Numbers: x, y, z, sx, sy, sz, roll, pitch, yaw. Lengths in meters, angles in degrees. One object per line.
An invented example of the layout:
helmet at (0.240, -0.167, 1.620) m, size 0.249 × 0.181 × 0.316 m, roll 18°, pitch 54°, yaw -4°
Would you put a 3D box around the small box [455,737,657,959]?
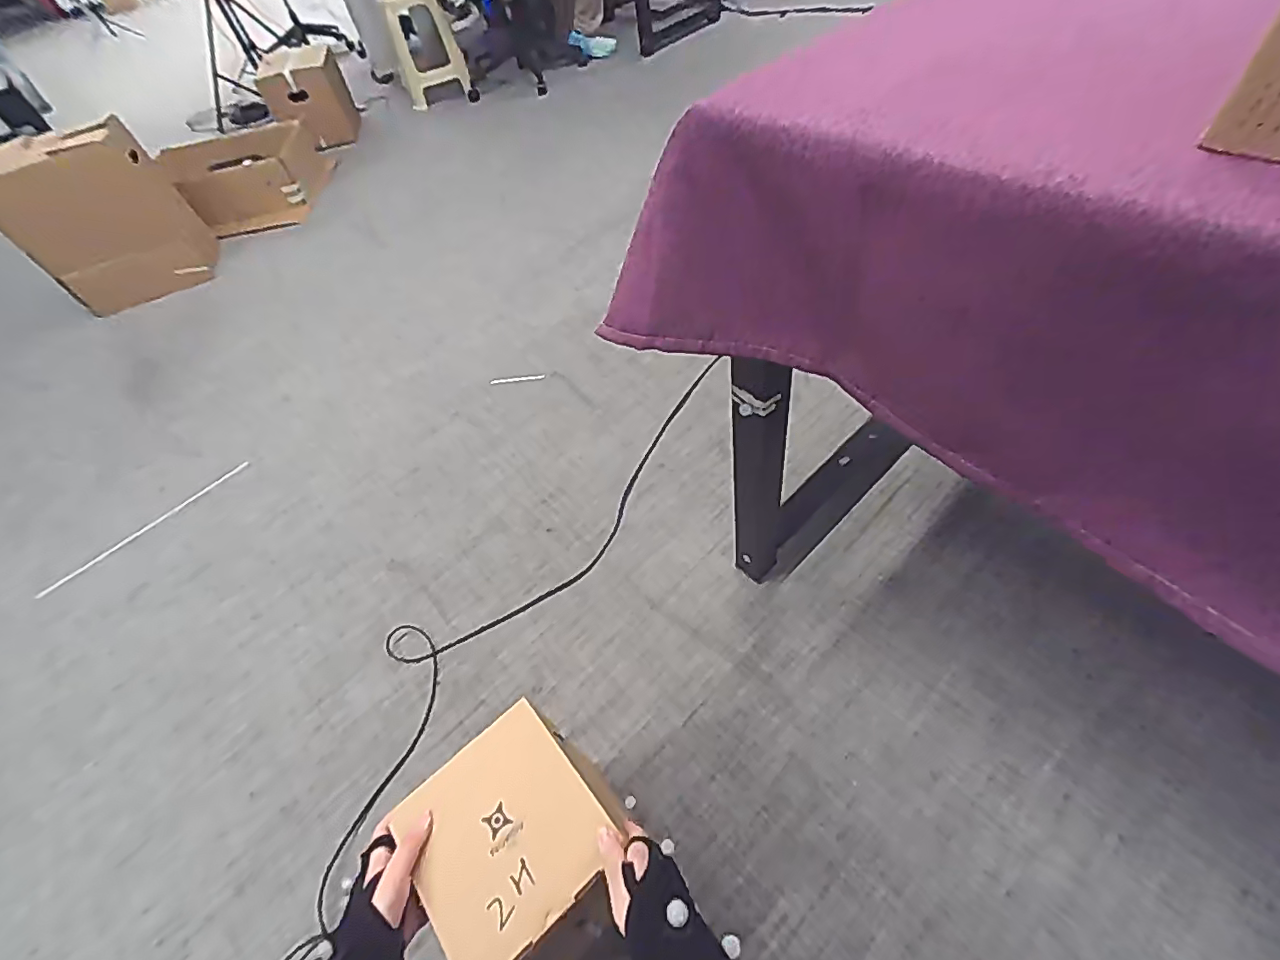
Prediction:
small box at (-0.095, 0.473, 0.689) m, size 0.179 × 0.176 × 0.168 m, roll -38°, pitch 56°, yaw -20°
